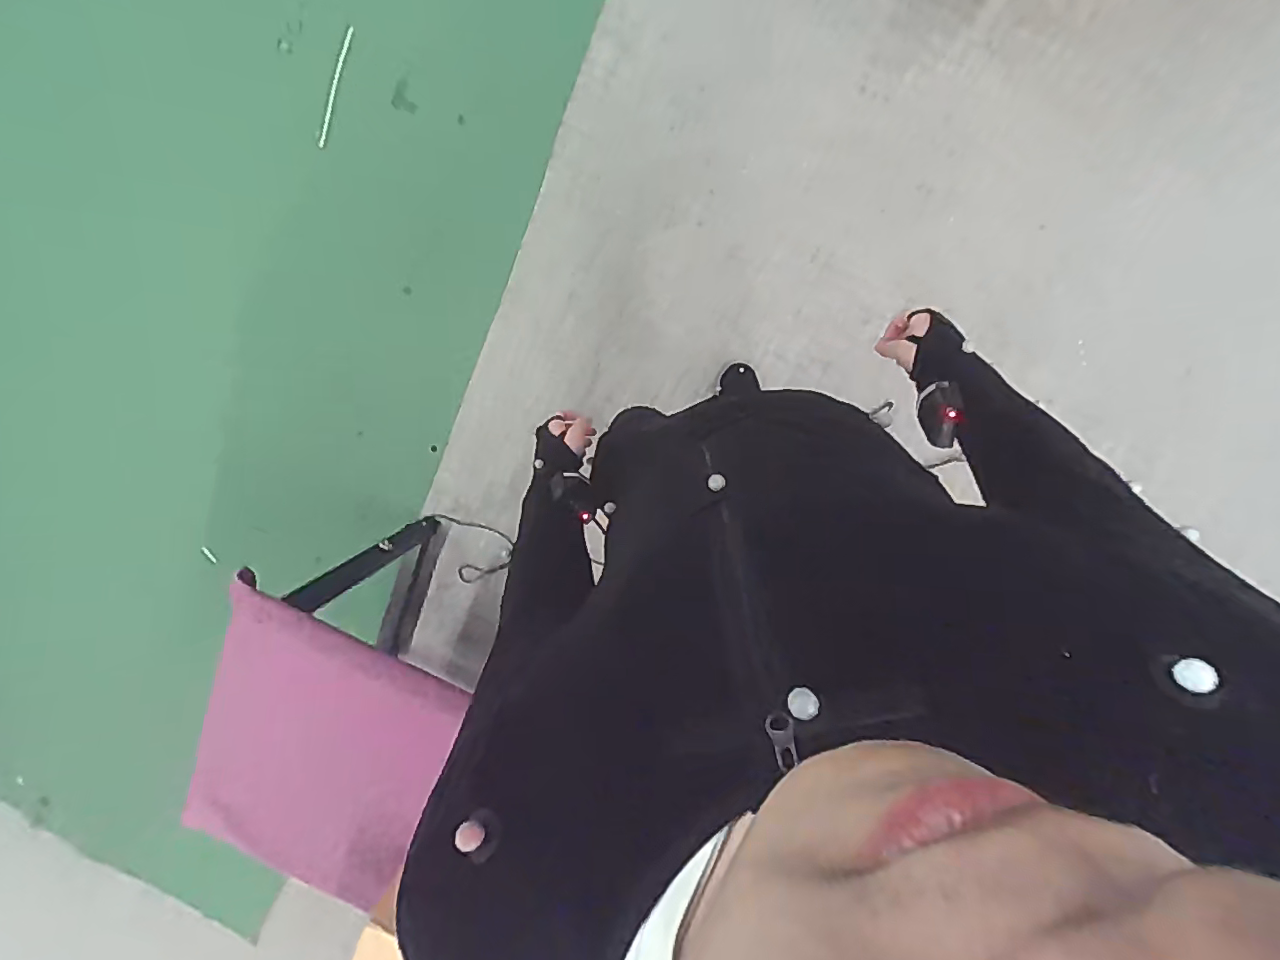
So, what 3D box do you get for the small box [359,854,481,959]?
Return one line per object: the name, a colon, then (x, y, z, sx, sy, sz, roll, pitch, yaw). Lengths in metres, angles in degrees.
small box: (-0.449, 0.925, 1.110, 0.168, 0.176, 0.179, 25, 106, 3)
